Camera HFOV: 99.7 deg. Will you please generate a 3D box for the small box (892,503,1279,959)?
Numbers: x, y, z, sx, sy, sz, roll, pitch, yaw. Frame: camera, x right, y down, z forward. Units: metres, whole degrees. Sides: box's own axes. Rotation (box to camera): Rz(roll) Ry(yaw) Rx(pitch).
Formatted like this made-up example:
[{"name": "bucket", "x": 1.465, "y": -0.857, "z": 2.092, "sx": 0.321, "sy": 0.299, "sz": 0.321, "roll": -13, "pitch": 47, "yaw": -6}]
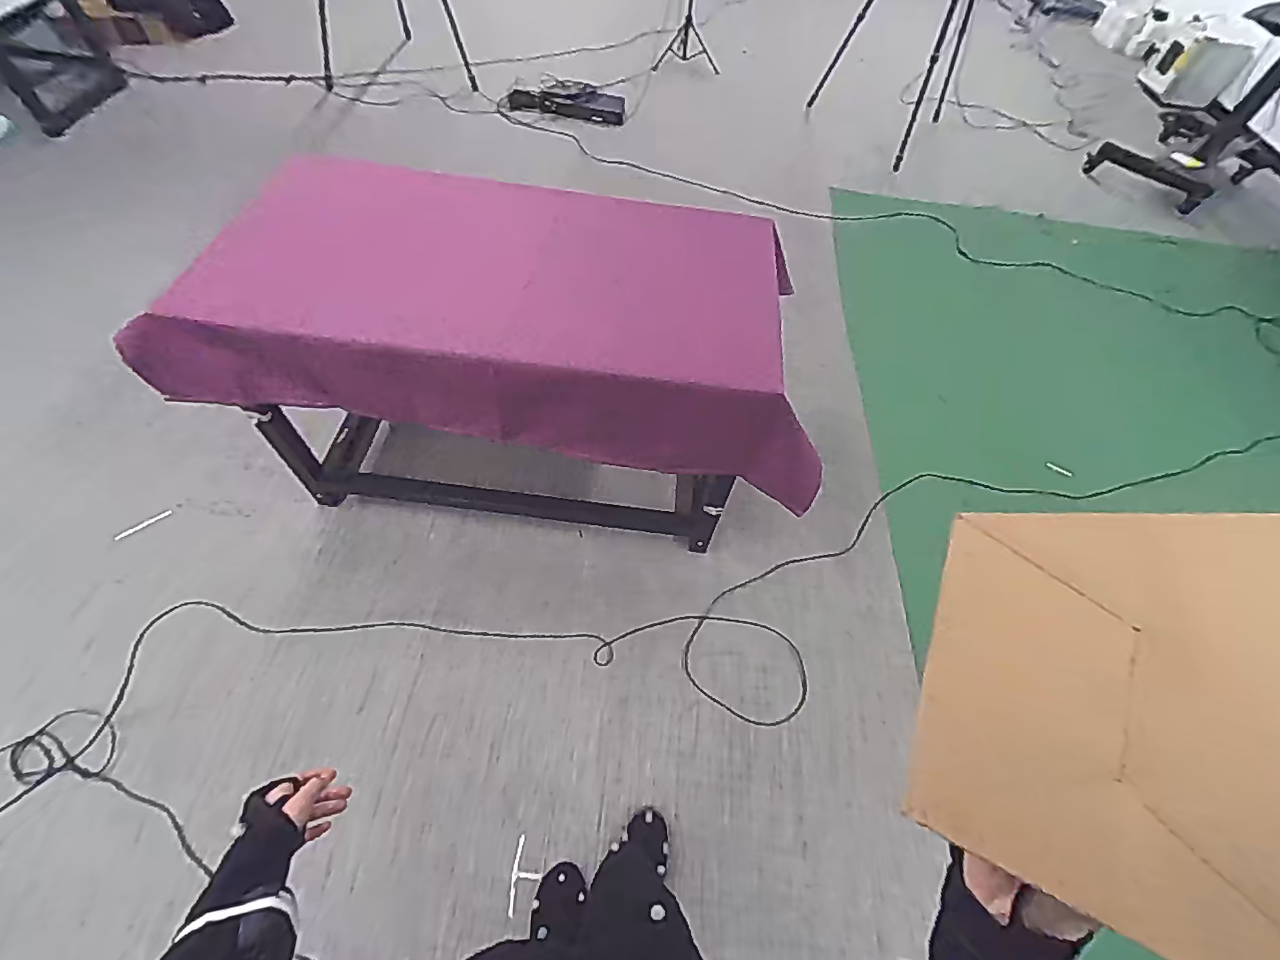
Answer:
[{"name": "small box", "x": 0.258, "y": 0.117, "z": 0.255, "sx": 0.176, "sy": 0.179, "sz": 0.168, "roll": 25, "pitch": 75, "yaw": -25}]
